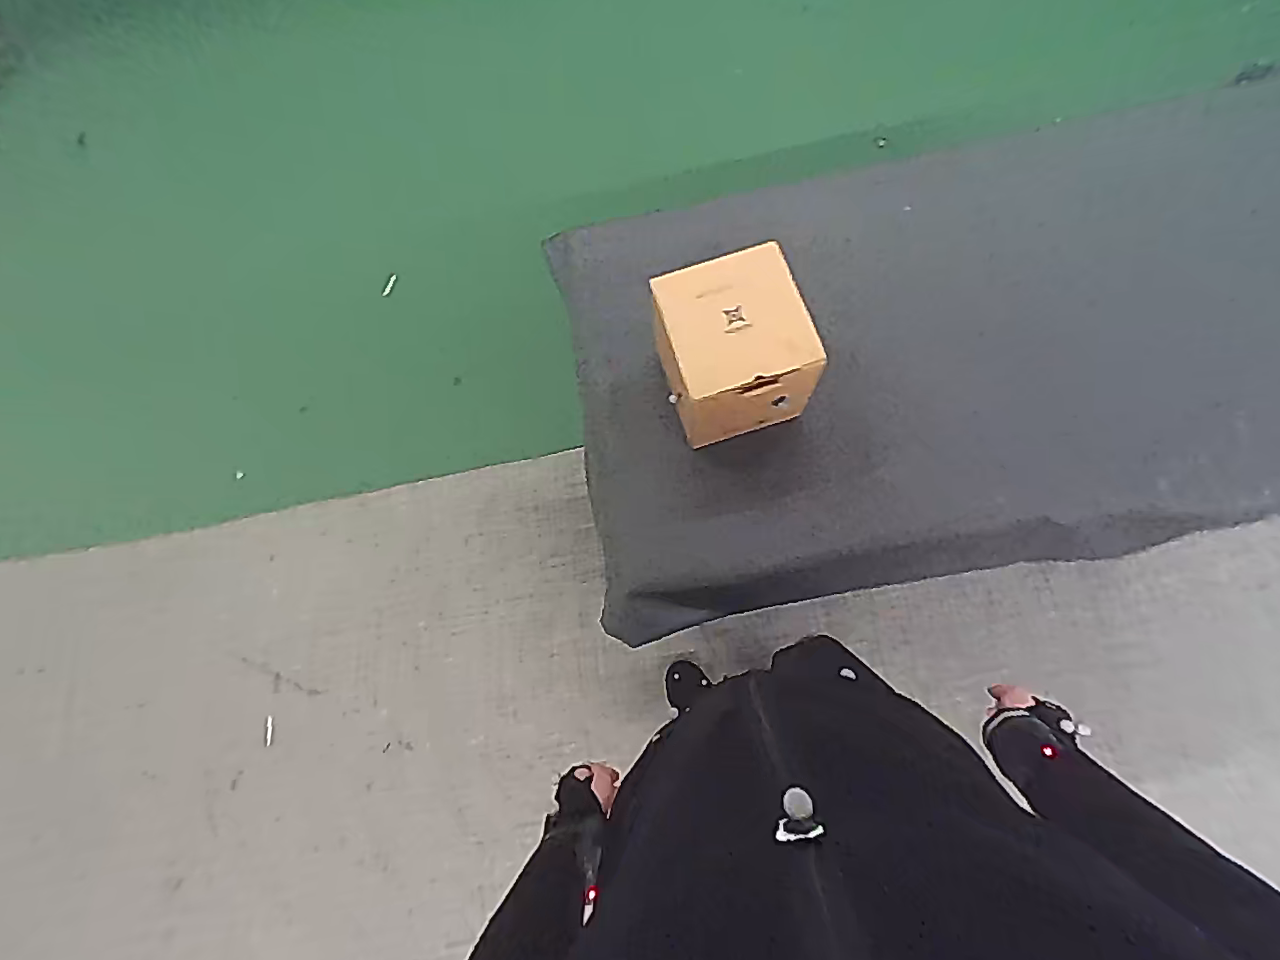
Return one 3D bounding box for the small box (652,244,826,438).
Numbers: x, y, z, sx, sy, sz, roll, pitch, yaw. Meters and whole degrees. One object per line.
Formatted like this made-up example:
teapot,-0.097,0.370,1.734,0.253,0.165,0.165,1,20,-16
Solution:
small box,0.123,-0.170,0.725,0.168,0.176,0.179,-18,73,-1
